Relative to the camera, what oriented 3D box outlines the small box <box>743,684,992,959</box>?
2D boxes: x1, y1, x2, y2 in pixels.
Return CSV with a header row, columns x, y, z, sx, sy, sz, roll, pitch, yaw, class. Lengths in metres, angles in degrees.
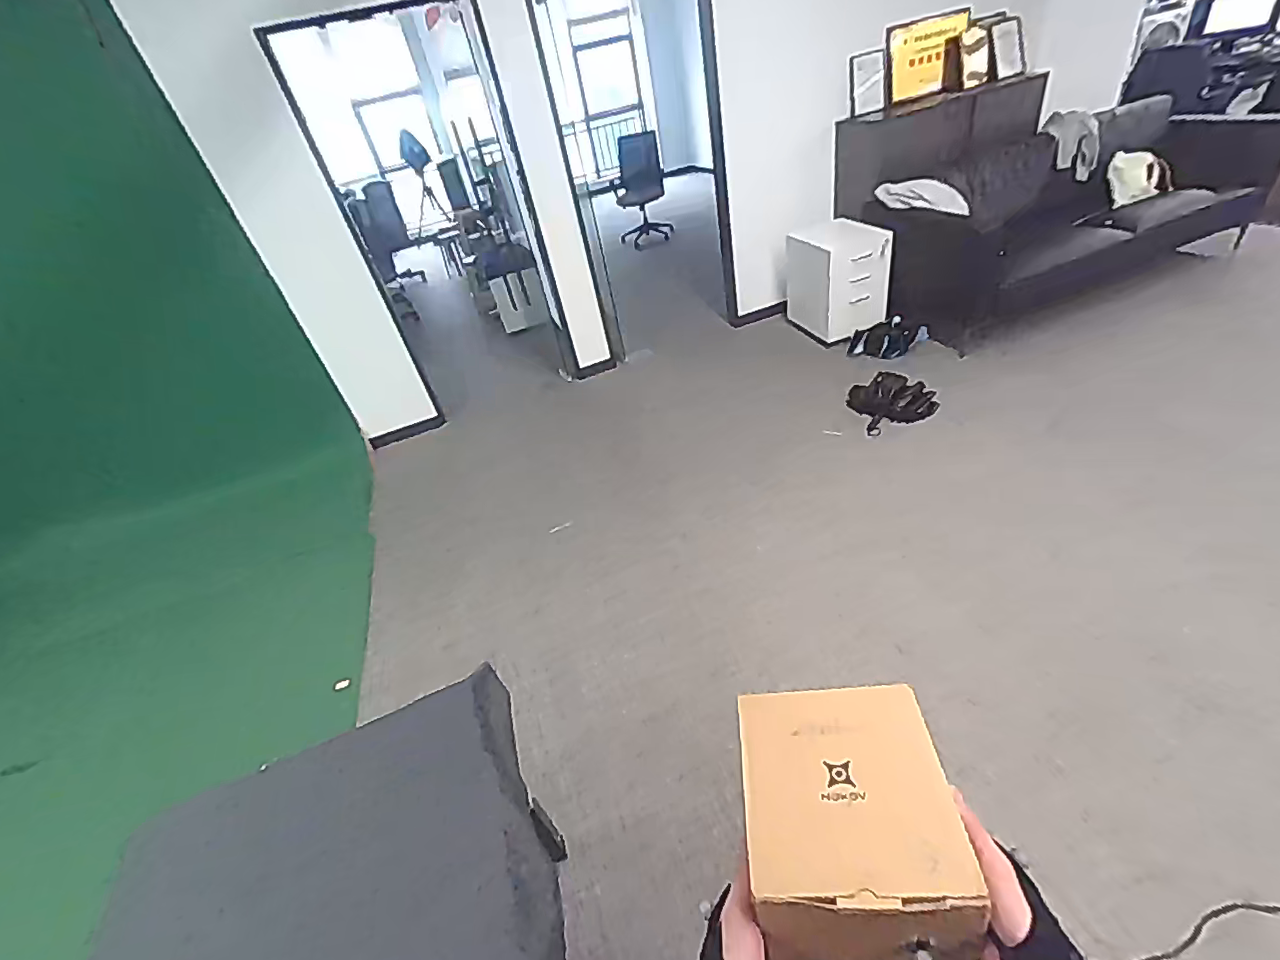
x,y,z,sx,sy,sz,roll,pitch,yaw,class
0.191,0.318,0.496,0.168,0.176,0.179,-8,30,11,small box
